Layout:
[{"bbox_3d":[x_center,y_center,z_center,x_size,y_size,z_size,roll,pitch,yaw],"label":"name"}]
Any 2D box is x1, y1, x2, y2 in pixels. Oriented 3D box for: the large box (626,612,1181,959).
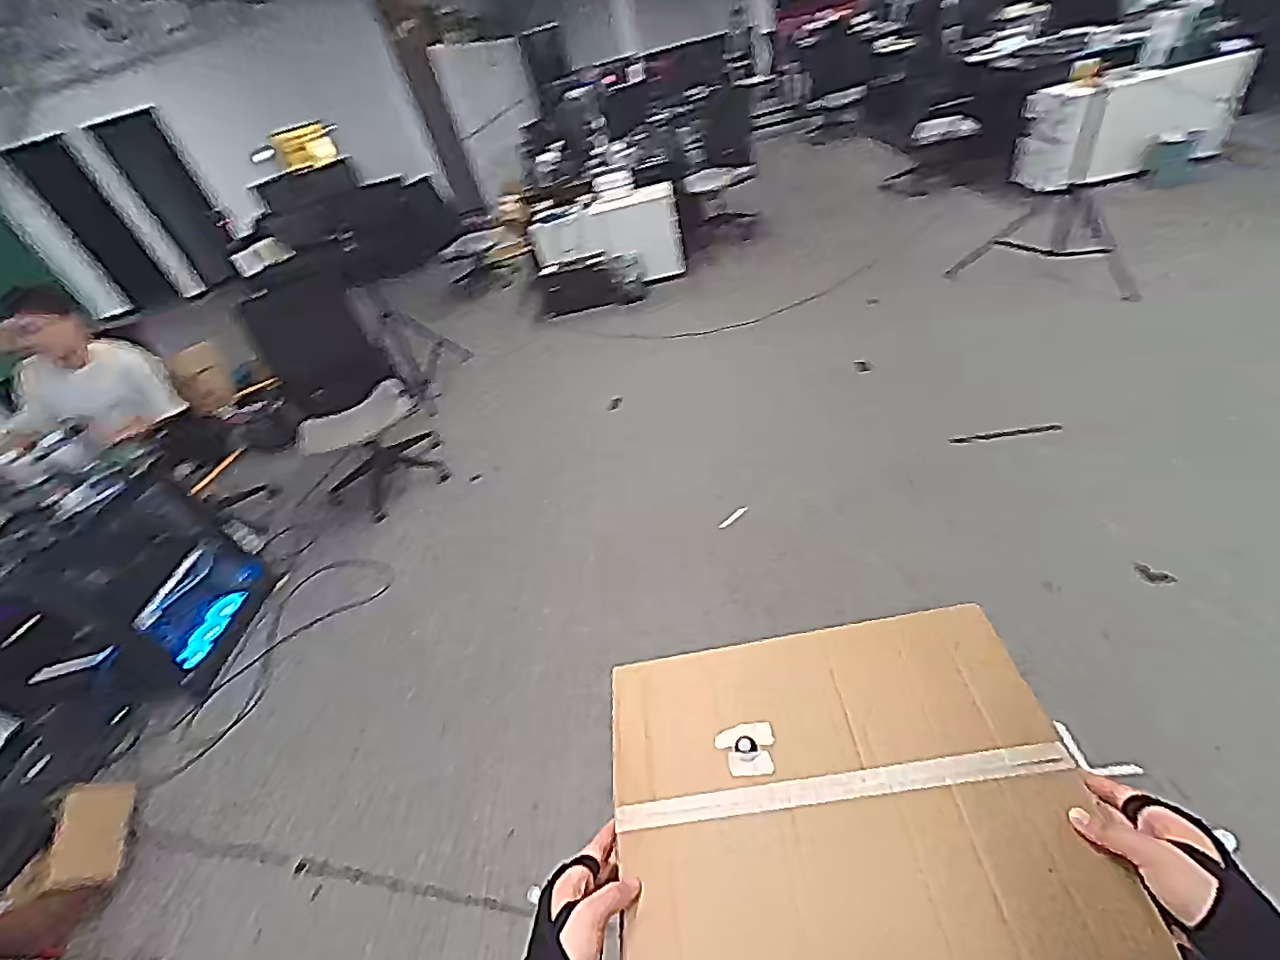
[{"bbox_3d":[0.223,0.393,0.603,0.408,0.320,0.320,-13,43,9],"label":"large box"}]
